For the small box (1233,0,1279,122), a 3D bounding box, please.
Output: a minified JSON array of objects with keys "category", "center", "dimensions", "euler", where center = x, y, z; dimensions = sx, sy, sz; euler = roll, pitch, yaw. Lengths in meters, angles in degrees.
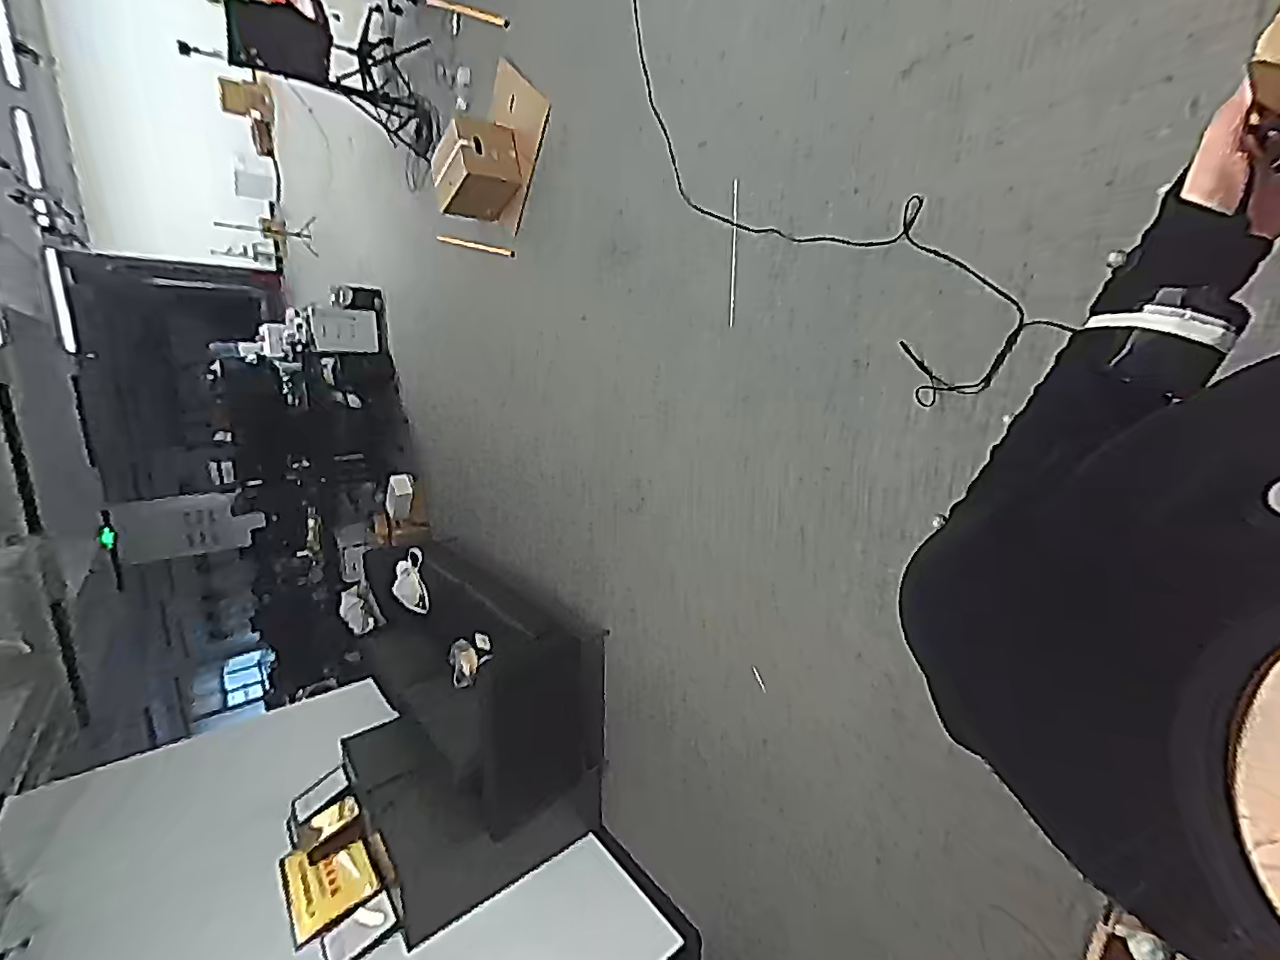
[{"category":"small box","center":[0.450,-0.257,0.248],"dimensions":[0.168,0.176,0.179],"euler":[45,132,32]}]
